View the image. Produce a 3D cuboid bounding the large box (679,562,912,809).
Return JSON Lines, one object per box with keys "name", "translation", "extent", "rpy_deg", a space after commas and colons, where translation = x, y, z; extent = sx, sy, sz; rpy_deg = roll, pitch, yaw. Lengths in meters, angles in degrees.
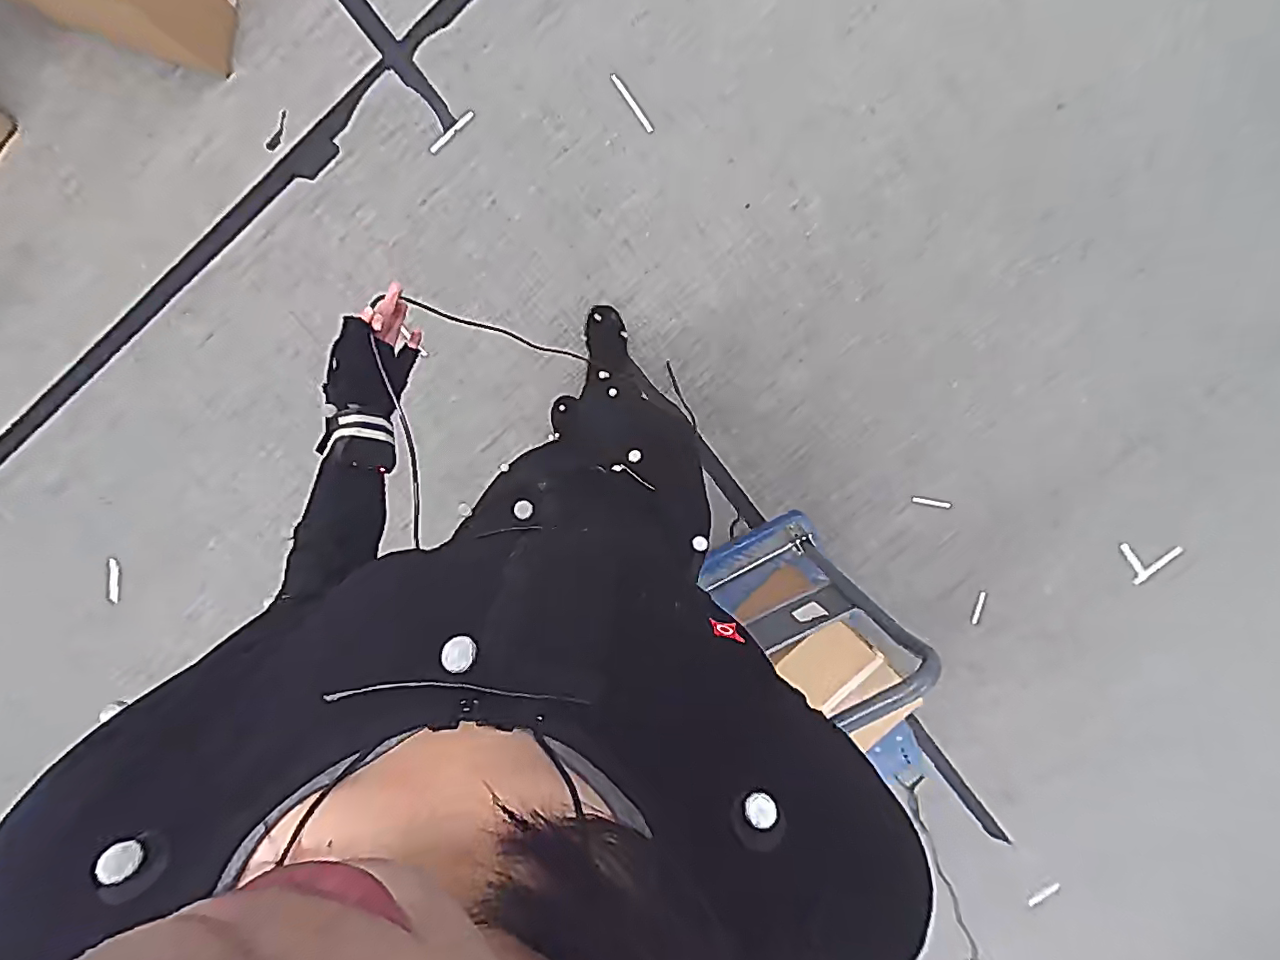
{"name": "large box", "translation": [0.354, 0.482, 1.331], "extent": [0.320, 0.320, 0.408], "rpy_deg": [43, 97, -10]}
